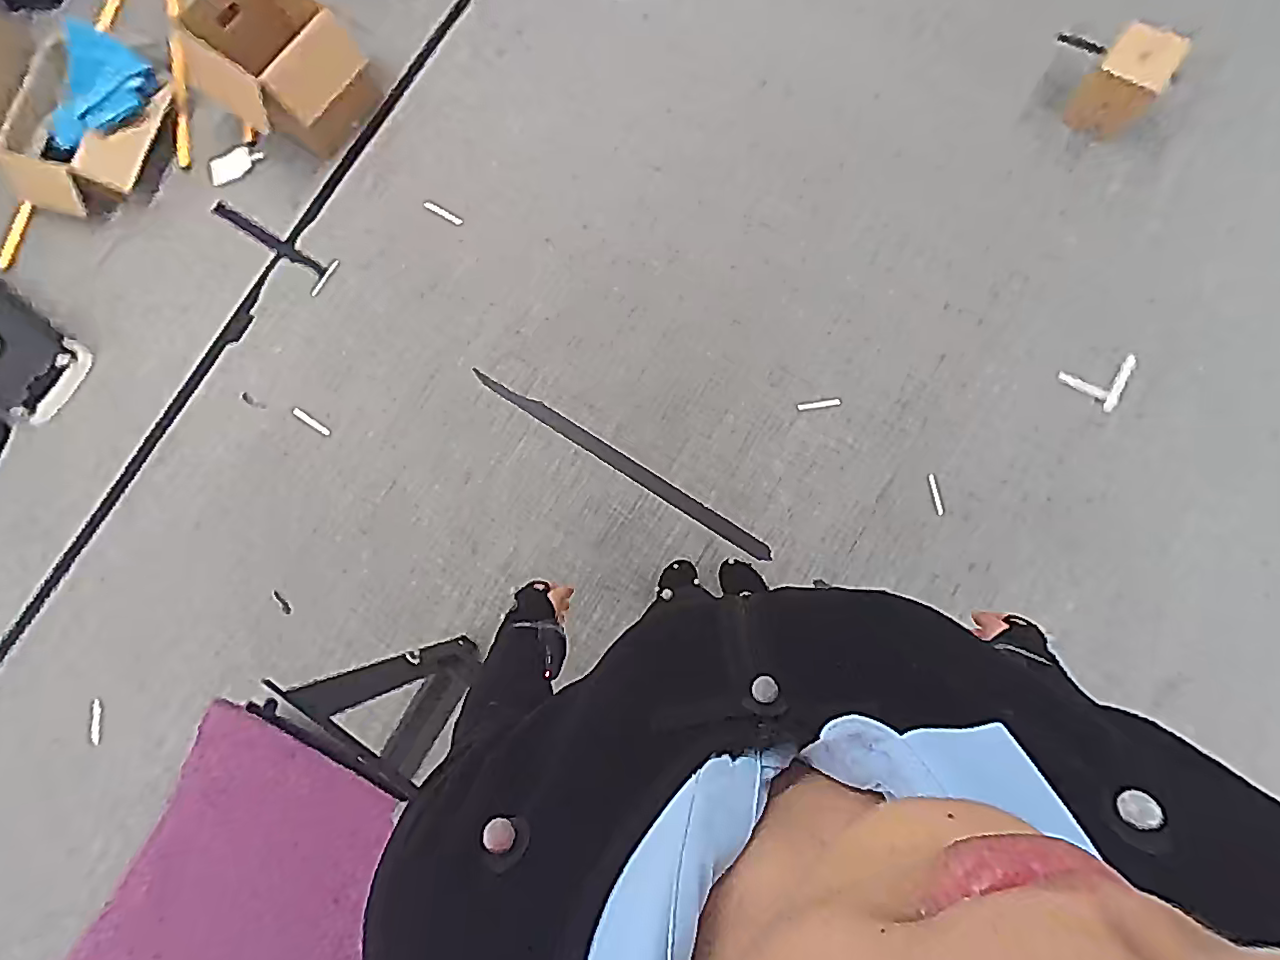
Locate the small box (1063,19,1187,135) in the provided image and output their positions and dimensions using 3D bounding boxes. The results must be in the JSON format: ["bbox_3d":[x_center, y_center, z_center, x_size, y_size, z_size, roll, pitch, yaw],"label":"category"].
[{"bbox_3d":[1.350,-1.124,1.523,0.168,0.176,0.179,34,85,10],"label":"small box"}]
